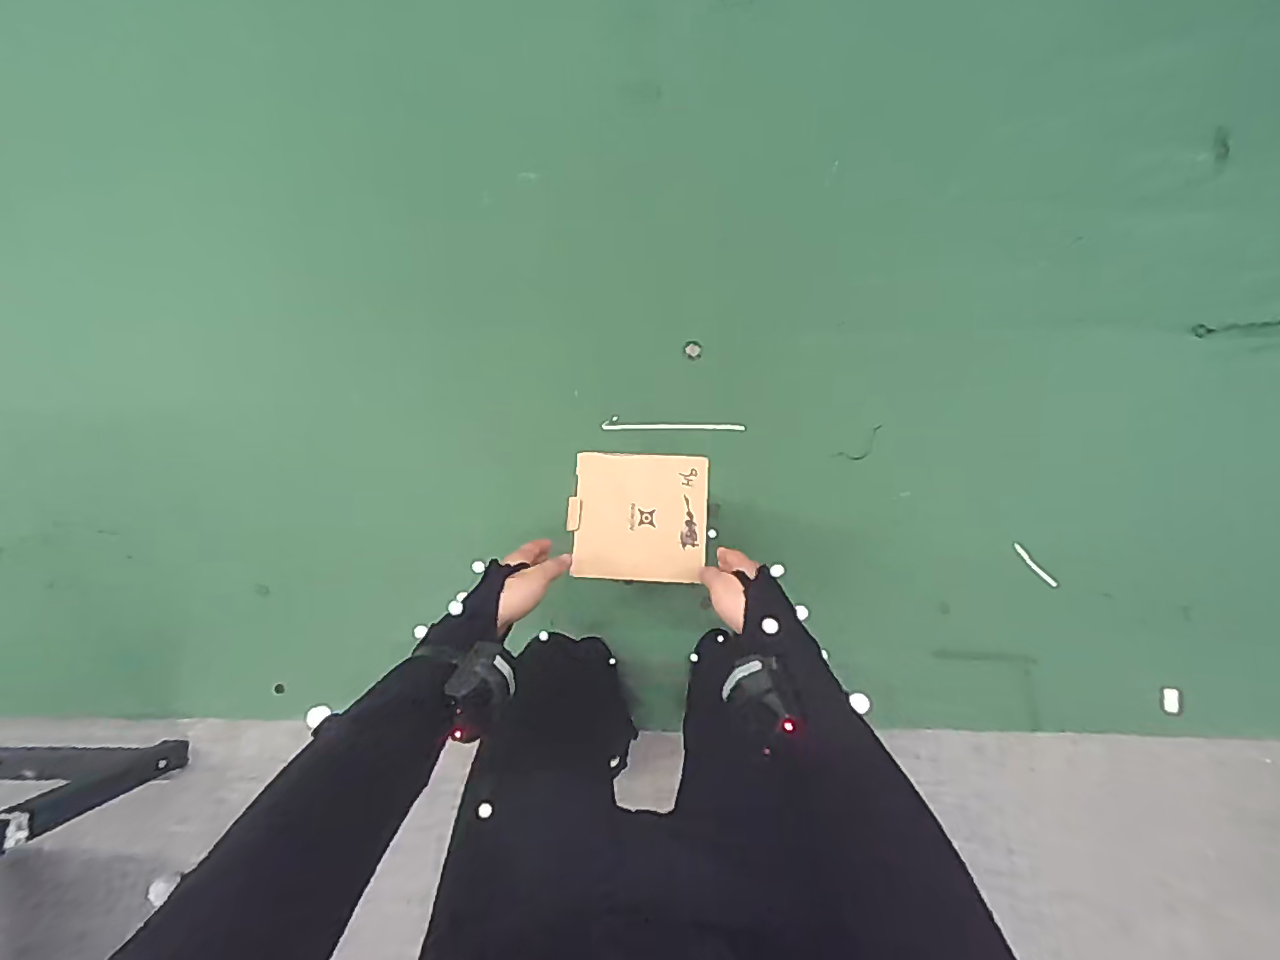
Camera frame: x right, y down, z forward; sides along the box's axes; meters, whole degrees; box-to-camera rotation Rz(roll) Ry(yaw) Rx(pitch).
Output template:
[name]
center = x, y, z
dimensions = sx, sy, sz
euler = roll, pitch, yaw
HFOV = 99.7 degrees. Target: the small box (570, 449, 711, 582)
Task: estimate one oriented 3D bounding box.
[small box]
center = 0.006, 0.053, 0.775
dimensions = 0.179, 0.176, 0.168
euler = 3, 85, 3
